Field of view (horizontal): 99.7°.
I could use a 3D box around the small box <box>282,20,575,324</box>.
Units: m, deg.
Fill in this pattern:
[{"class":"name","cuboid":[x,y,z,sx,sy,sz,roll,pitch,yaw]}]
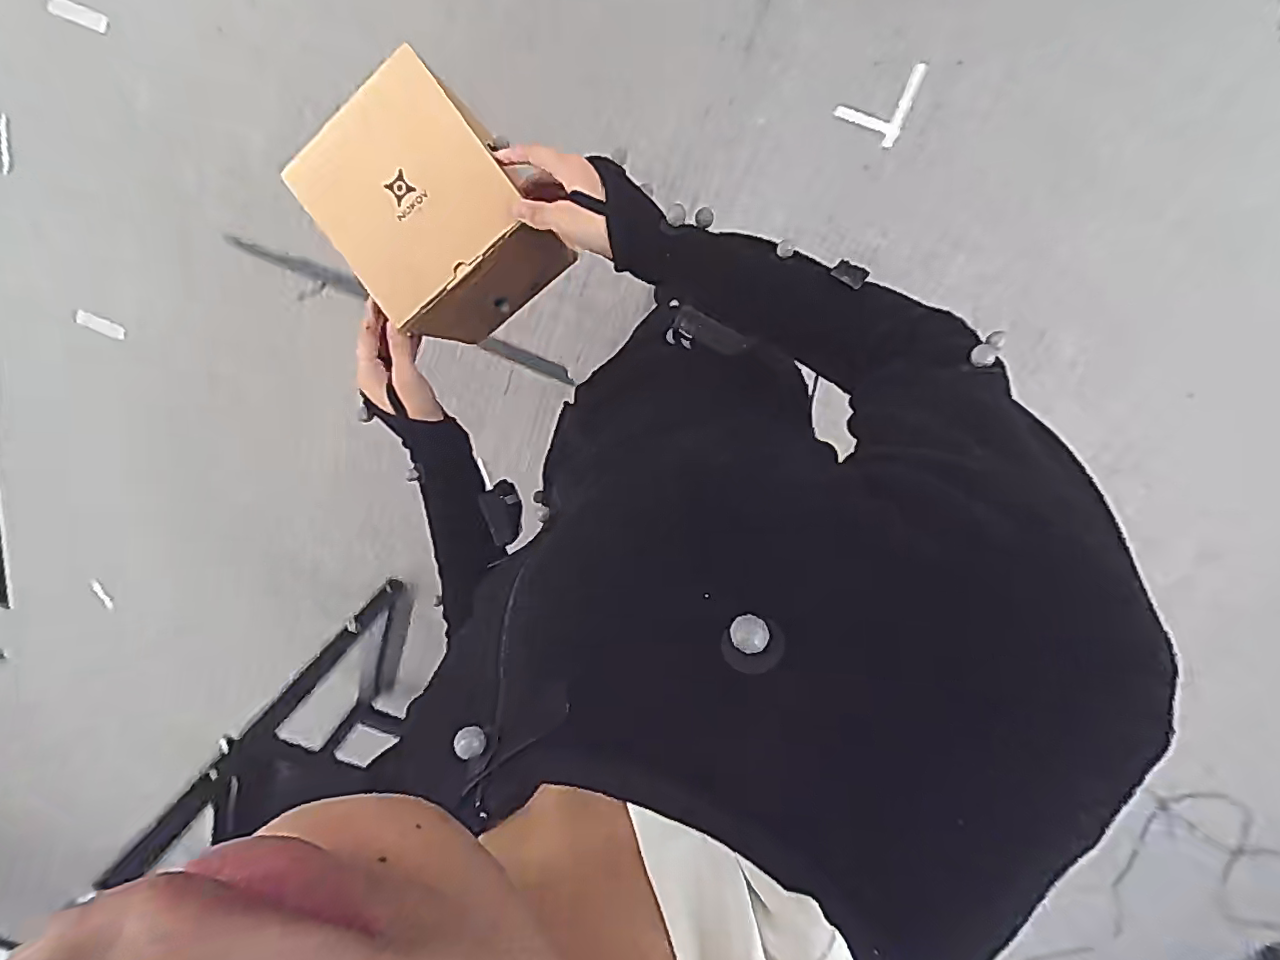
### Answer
[{"class":"small box","cuboid":[-0.191,-0.278,0.541,0.168,0.176,0.179,-35,95,11]}]
